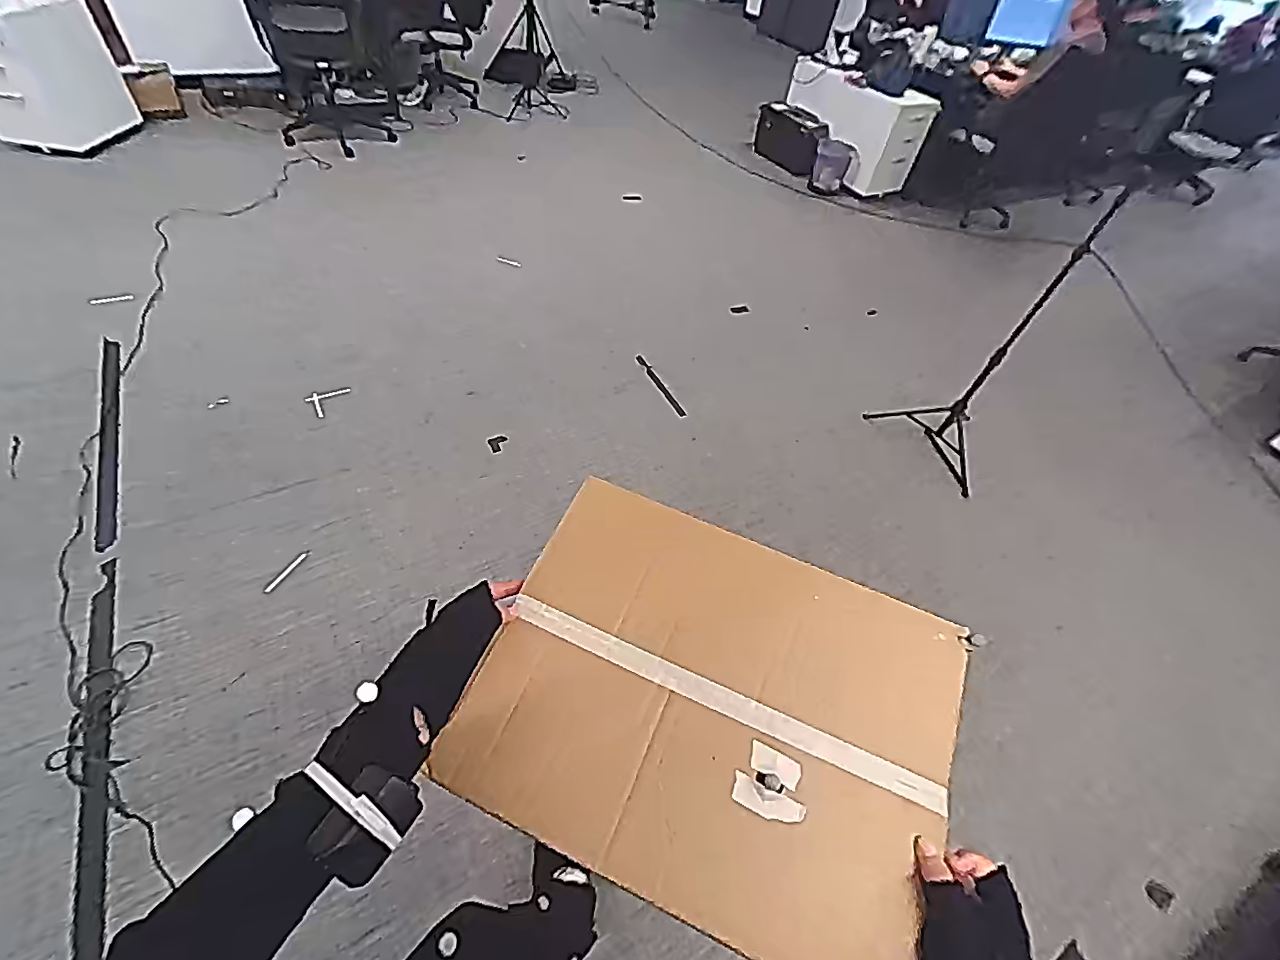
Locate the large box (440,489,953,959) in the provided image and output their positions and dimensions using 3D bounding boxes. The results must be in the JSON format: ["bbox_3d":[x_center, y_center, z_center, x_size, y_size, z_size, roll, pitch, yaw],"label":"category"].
[{"bbox_3d":[0.061,0.271,0.623,0.408,0.320,0.320,22,62,10],"label":"large box"}]
